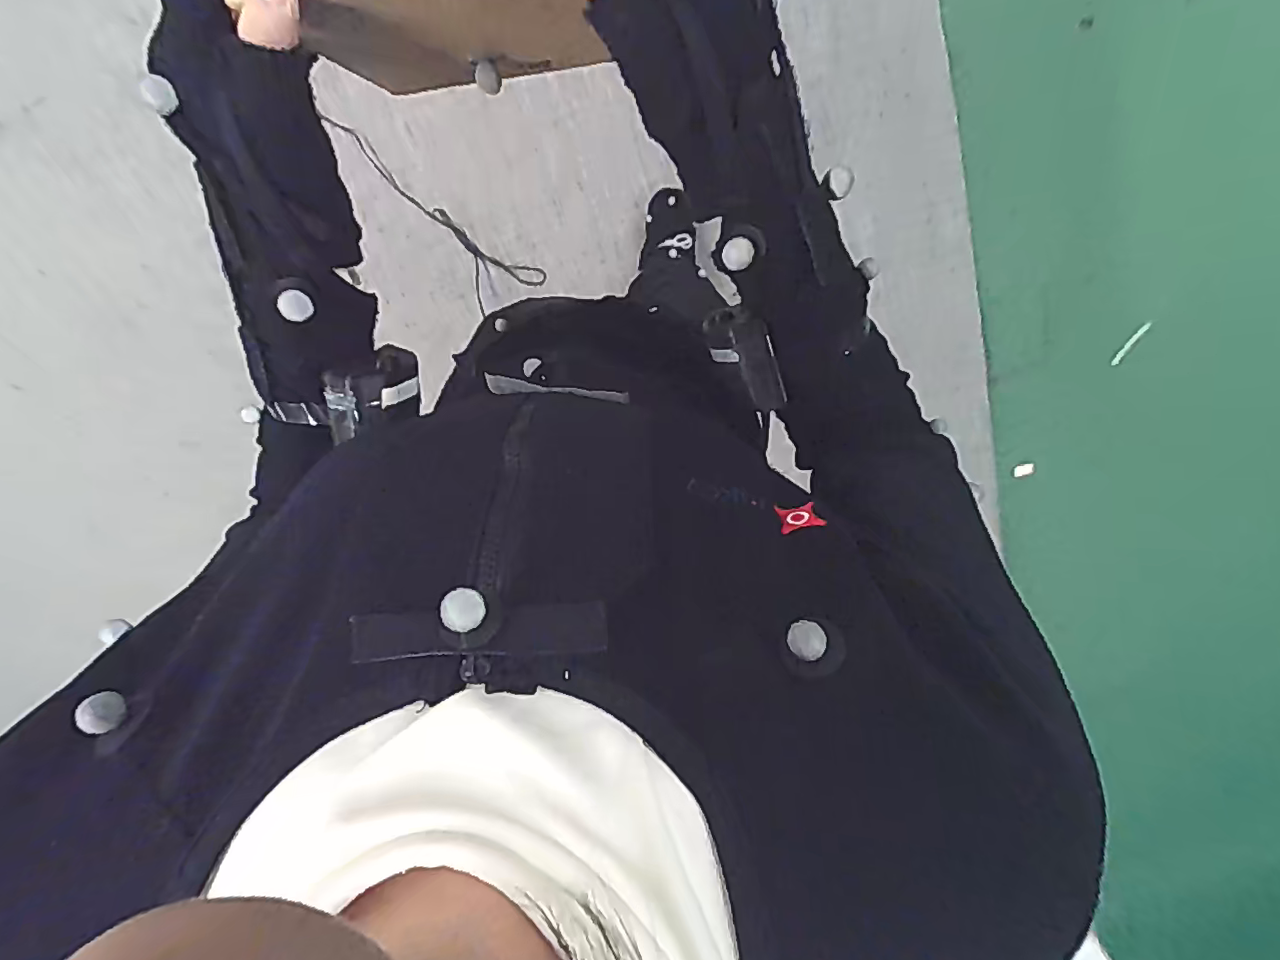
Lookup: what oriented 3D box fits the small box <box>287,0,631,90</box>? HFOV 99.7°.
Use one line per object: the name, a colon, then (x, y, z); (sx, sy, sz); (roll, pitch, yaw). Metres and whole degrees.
small box: (-0.096, -0.315, 0.251); (0.168, 0.176, 0.179); (-7, 114, 3)
